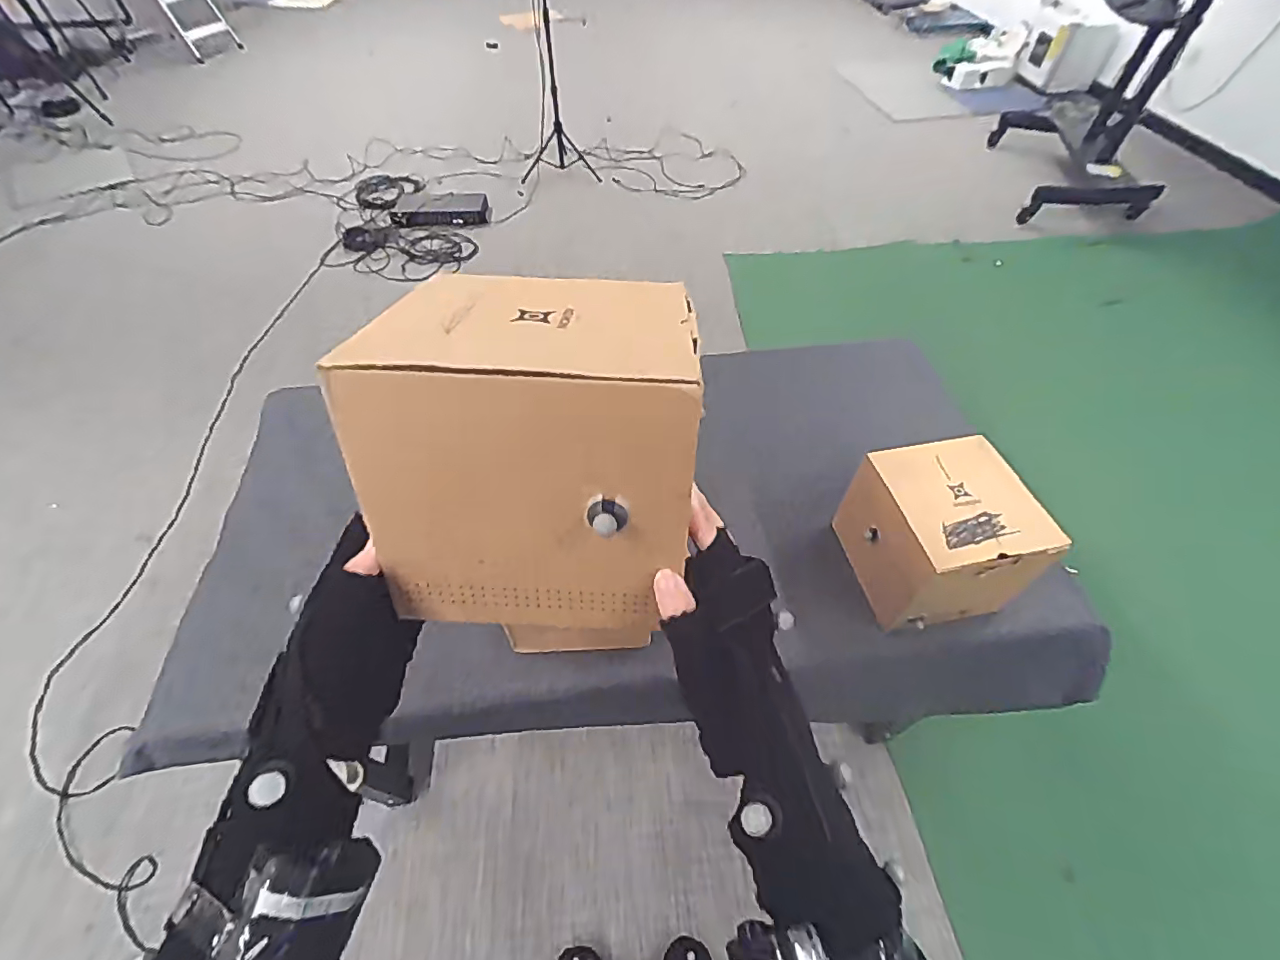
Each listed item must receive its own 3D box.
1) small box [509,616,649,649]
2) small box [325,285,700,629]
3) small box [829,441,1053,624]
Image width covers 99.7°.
[{"bbox_3d":[-0.080,0.107,0.694,0.179,0.176,0.168,-2,51,-2],"label":"small box"},{"bbox_3d":[-0.059,-0.019,0.358,0.179,0.176,0.168,1,33,0],"label":"small box"},{"bbox_3d":[0.377,0.076,0.718,0.168,0.176,0.179,-8,51,-6],"label":"small box"}]
